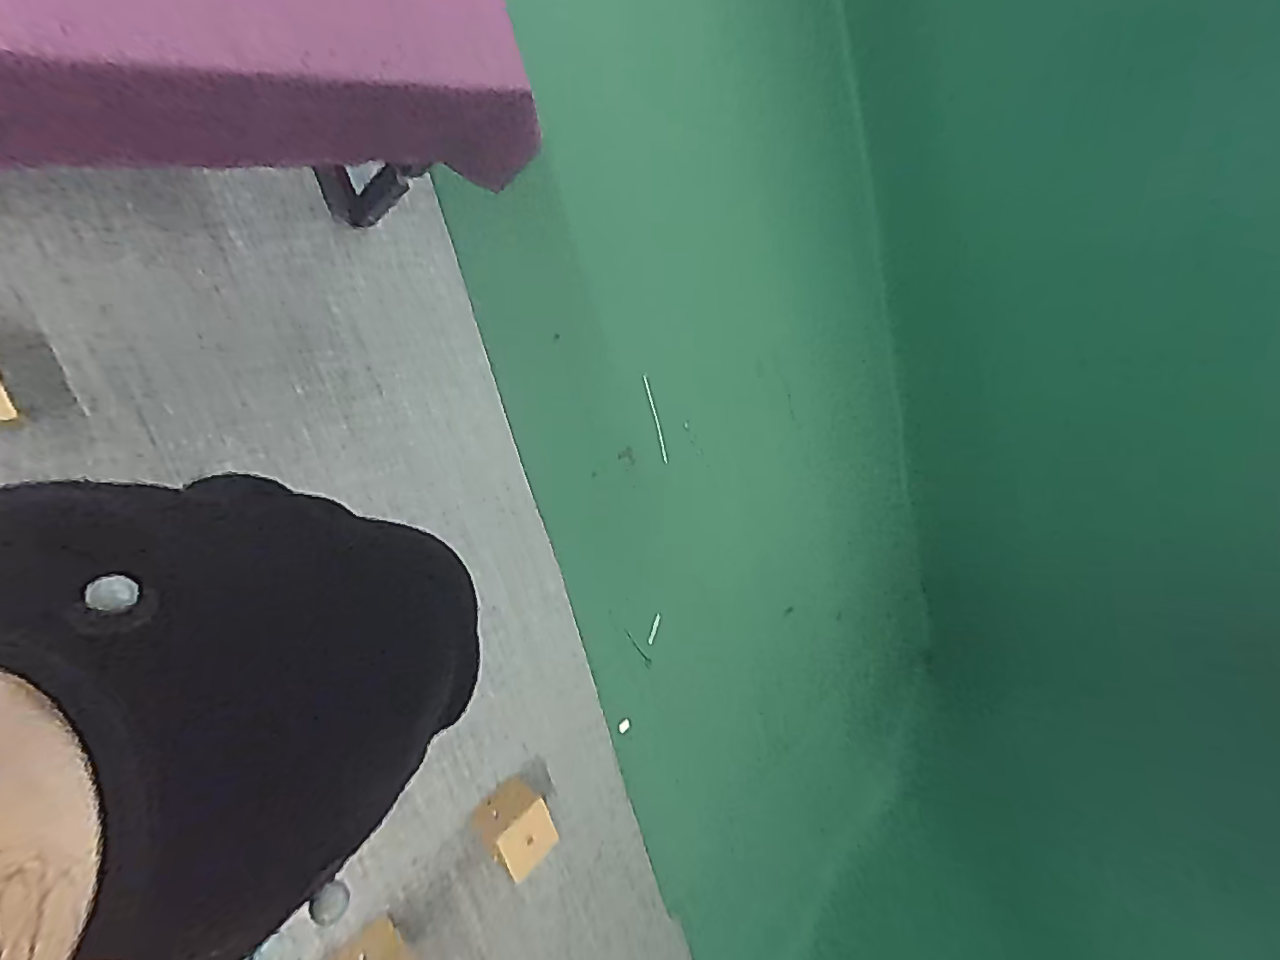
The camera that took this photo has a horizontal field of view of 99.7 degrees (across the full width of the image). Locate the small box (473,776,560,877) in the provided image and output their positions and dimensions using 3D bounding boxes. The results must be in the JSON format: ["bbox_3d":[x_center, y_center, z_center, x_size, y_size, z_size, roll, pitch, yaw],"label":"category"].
[{"bbox_3d":[-0.378,1.033,1.638,0.168,0.176,0.179,-30,111,-39],"label":"small box"}]

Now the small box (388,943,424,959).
[{"bbox_3d":[-0.554,1.233,1.238,0.179,0.176,0.168,-23,106,-42],"label":"small box"}]
